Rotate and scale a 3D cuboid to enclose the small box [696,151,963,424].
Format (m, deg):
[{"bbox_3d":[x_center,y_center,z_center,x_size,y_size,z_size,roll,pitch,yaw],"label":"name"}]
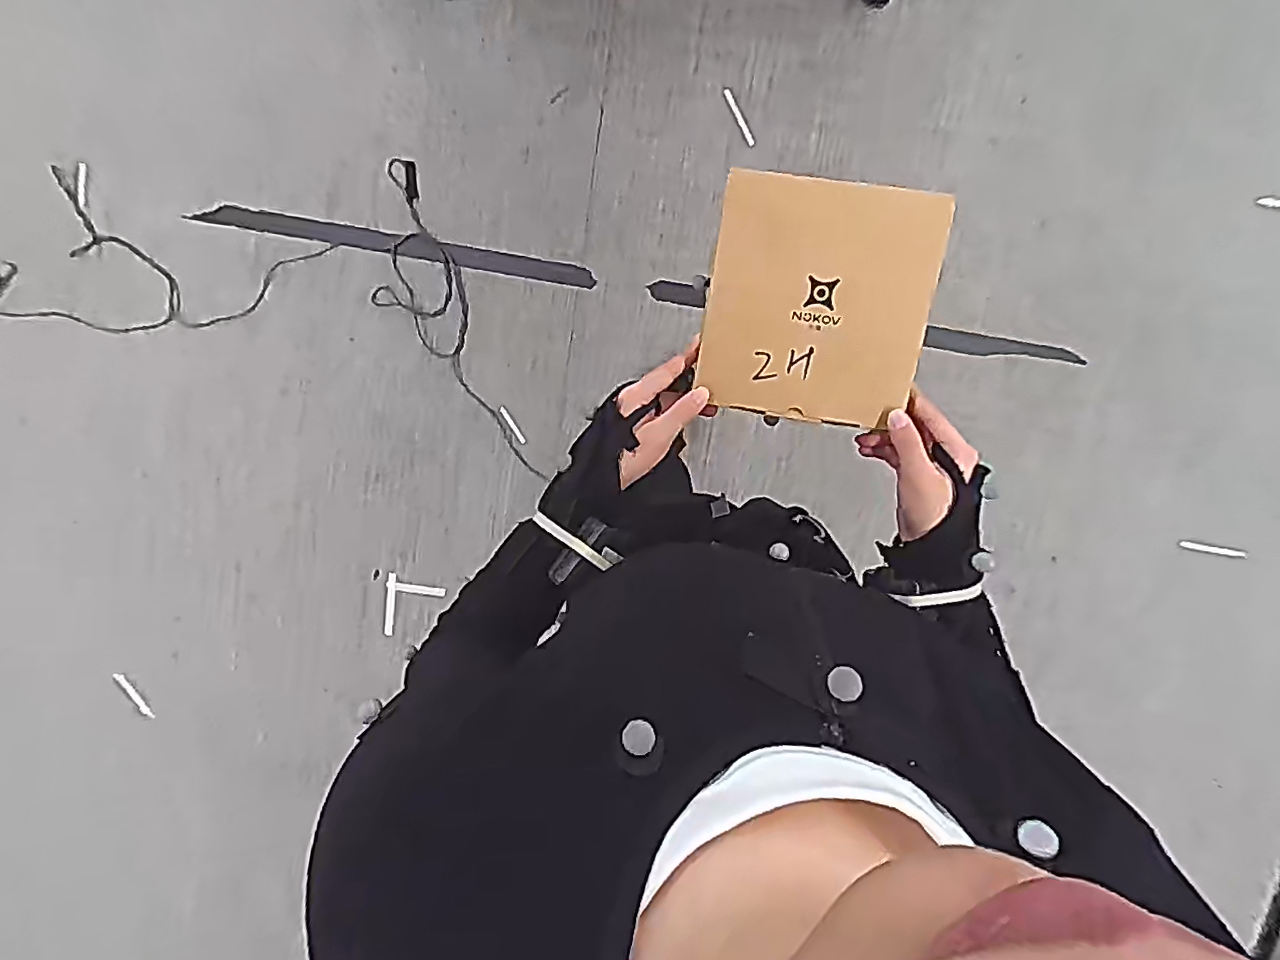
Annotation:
[{"bbox_3d":[0.144,-0.155,0.480,0.168,0.176,0.179,10,102,4],"label":"small box"}]
